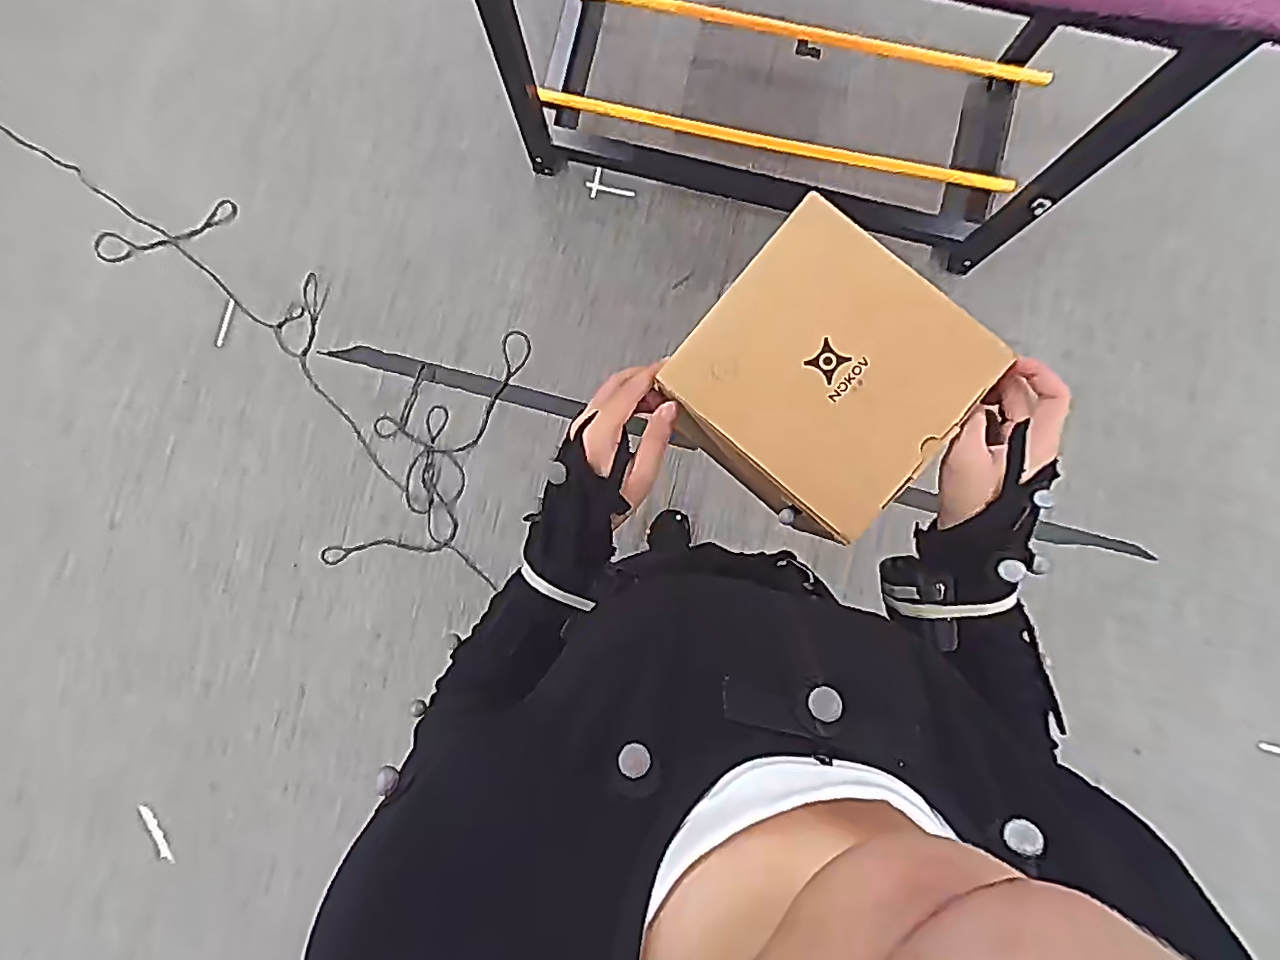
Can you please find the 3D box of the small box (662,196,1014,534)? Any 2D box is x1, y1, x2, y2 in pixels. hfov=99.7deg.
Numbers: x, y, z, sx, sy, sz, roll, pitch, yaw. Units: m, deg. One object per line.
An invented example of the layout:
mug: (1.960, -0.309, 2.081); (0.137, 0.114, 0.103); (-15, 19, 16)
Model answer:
small box: (0.133, -0.075, 0.440); (0.179, 0.176, 0.168); (40, 91, 2)
